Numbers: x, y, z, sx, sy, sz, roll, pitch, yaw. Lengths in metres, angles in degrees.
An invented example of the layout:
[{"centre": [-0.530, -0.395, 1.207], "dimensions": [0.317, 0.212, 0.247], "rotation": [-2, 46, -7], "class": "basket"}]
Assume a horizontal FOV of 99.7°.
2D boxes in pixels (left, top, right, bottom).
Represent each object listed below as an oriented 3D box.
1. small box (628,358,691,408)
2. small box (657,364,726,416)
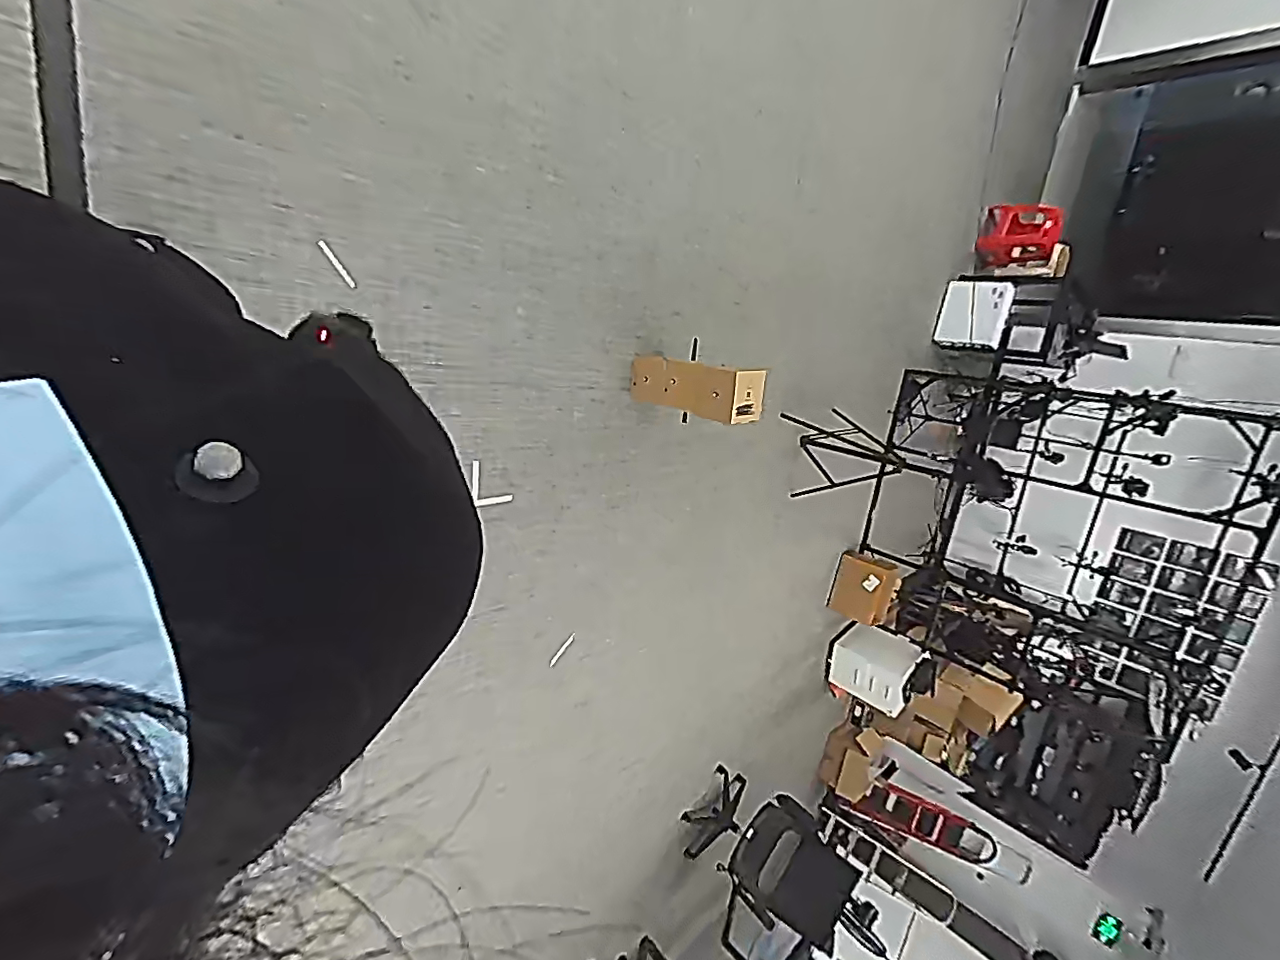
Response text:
[{"centre": [0.072, -0.375, 2.085], "dimensions": [0.179, 0.176, 0.168], "rotation": [-11, 114, -44], "class": "small box"}, {"centre": [0.187, -0.332, 1.978], "dimensions": [0.179, 0.176, 0.168], "rotation": [-9, 112, -44], "class": "small box"}]
